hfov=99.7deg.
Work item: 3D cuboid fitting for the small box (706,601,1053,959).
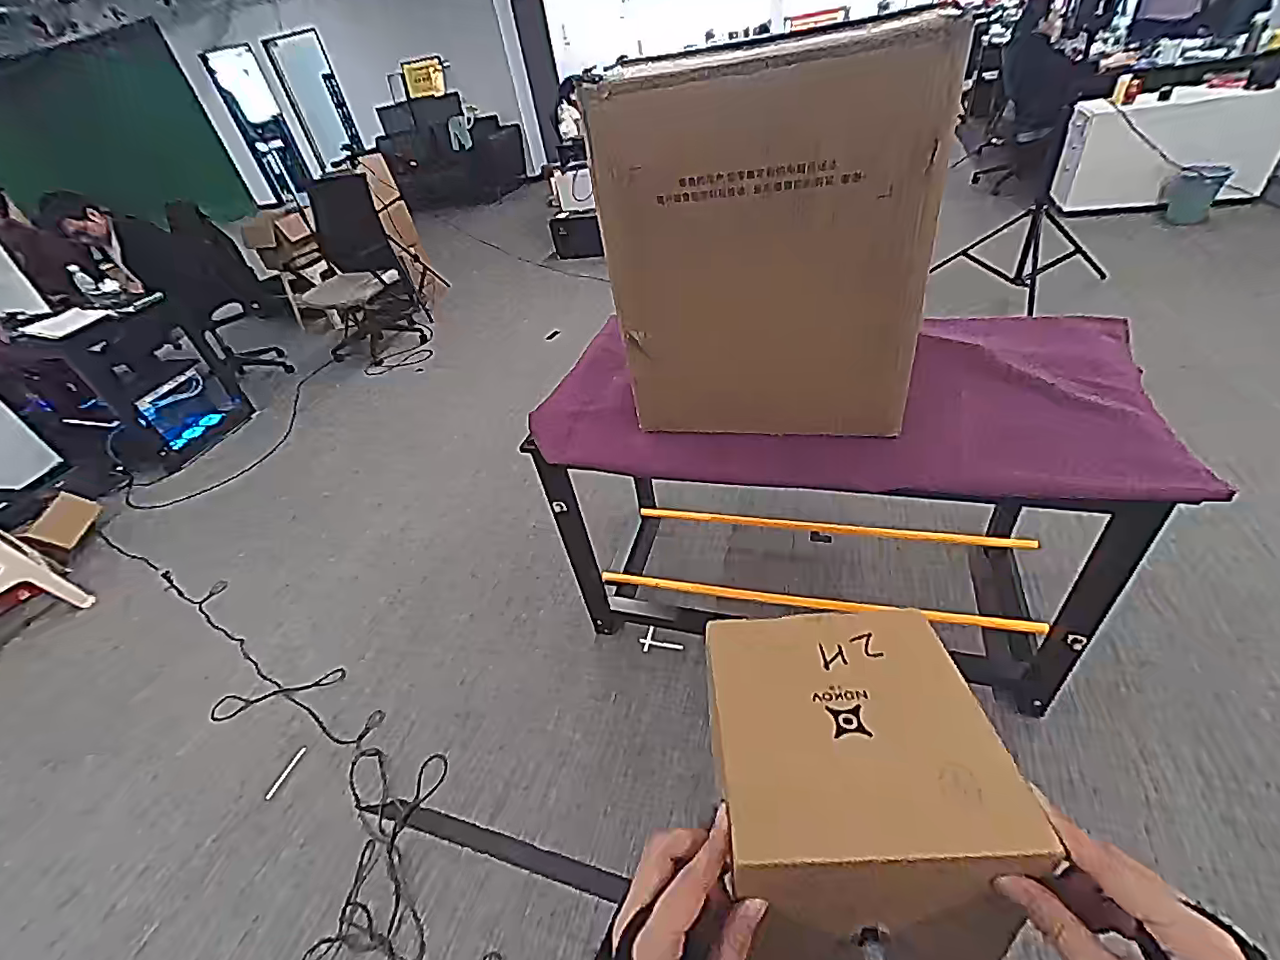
[{"bbox_3d":[0.140,0.213,0.389,0.168,0.176,0.179,-4,30,3],"label":"small box"}]
